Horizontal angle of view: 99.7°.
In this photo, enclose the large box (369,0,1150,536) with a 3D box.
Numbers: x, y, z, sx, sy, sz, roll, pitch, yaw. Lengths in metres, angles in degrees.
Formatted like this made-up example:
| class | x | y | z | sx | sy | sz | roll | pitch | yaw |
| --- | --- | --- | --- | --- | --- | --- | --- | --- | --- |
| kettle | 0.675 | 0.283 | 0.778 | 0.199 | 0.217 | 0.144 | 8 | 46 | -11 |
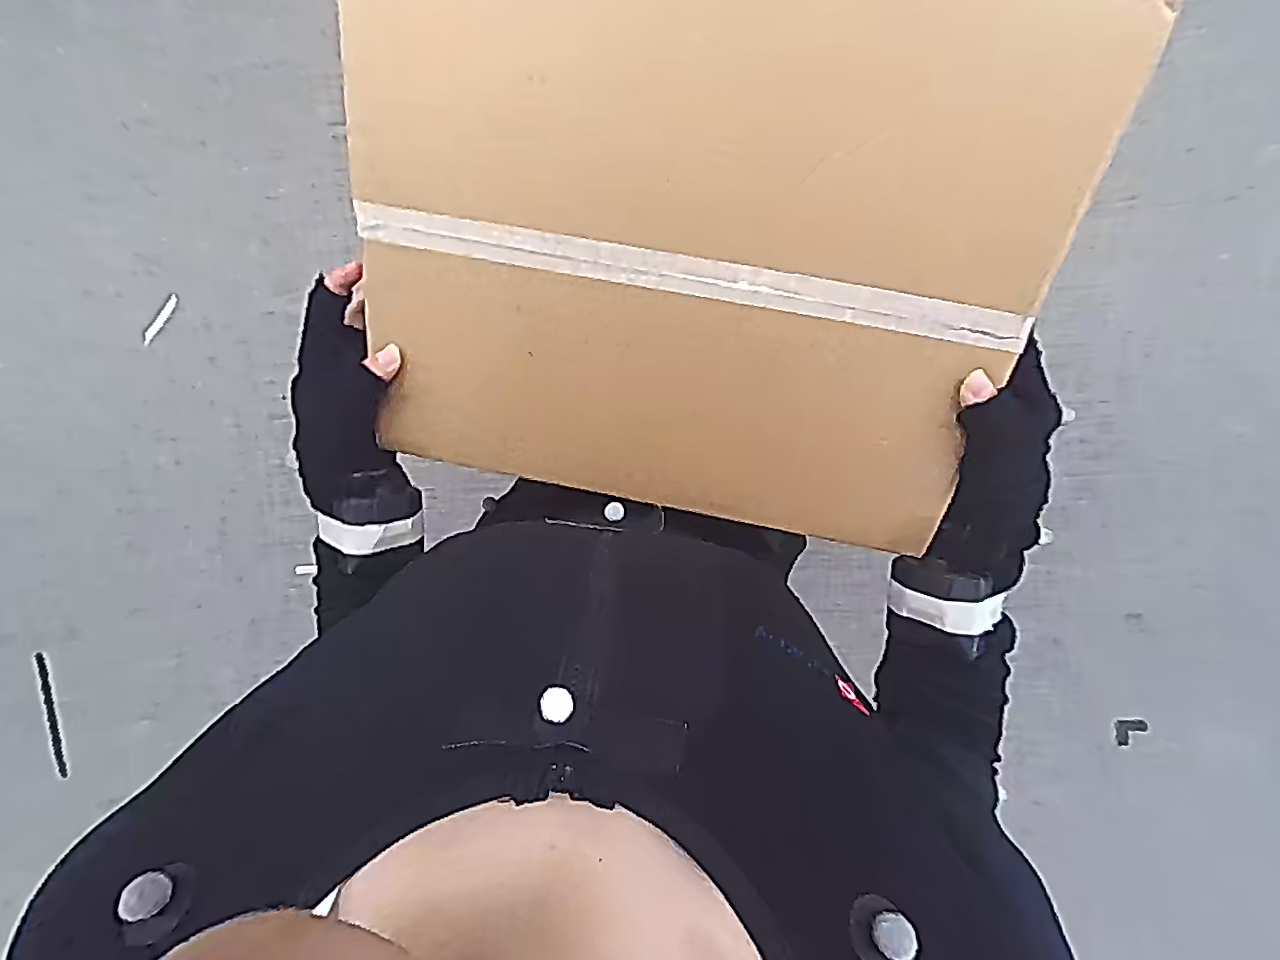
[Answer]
| class | x | y | z | sx | sy | sz | roll | pitch | yaw |
| --- | --- | --- | --- | --- | --- | --- | --- | --- | --- |
| large box | 0.047 | -0.193 | 0.467 | 0.408 | 0.320 | 0.320 | 12 | 118 | 3 |
